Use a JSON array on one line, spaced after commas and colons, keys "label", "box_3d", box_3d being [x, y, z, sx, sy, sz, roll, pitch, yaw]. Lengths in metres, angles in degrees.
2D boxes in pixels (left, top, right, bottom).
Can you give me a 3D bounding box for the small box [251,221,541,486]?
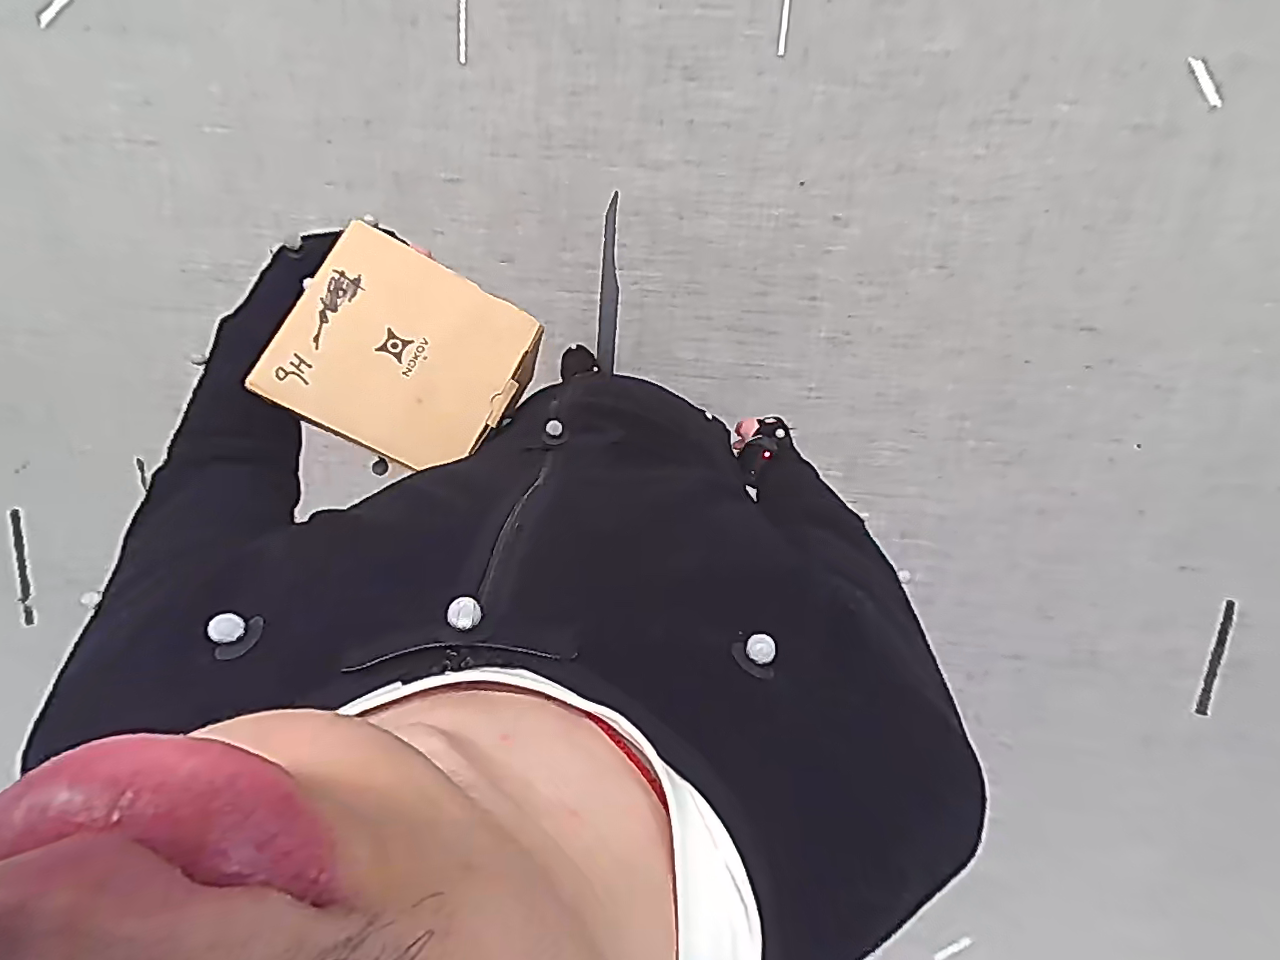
[{"label": "small box", "box_3d": [-0.217, -0.102, 0.529, 0.179, 0.176, 0.168, 27, 79, -12]}]
